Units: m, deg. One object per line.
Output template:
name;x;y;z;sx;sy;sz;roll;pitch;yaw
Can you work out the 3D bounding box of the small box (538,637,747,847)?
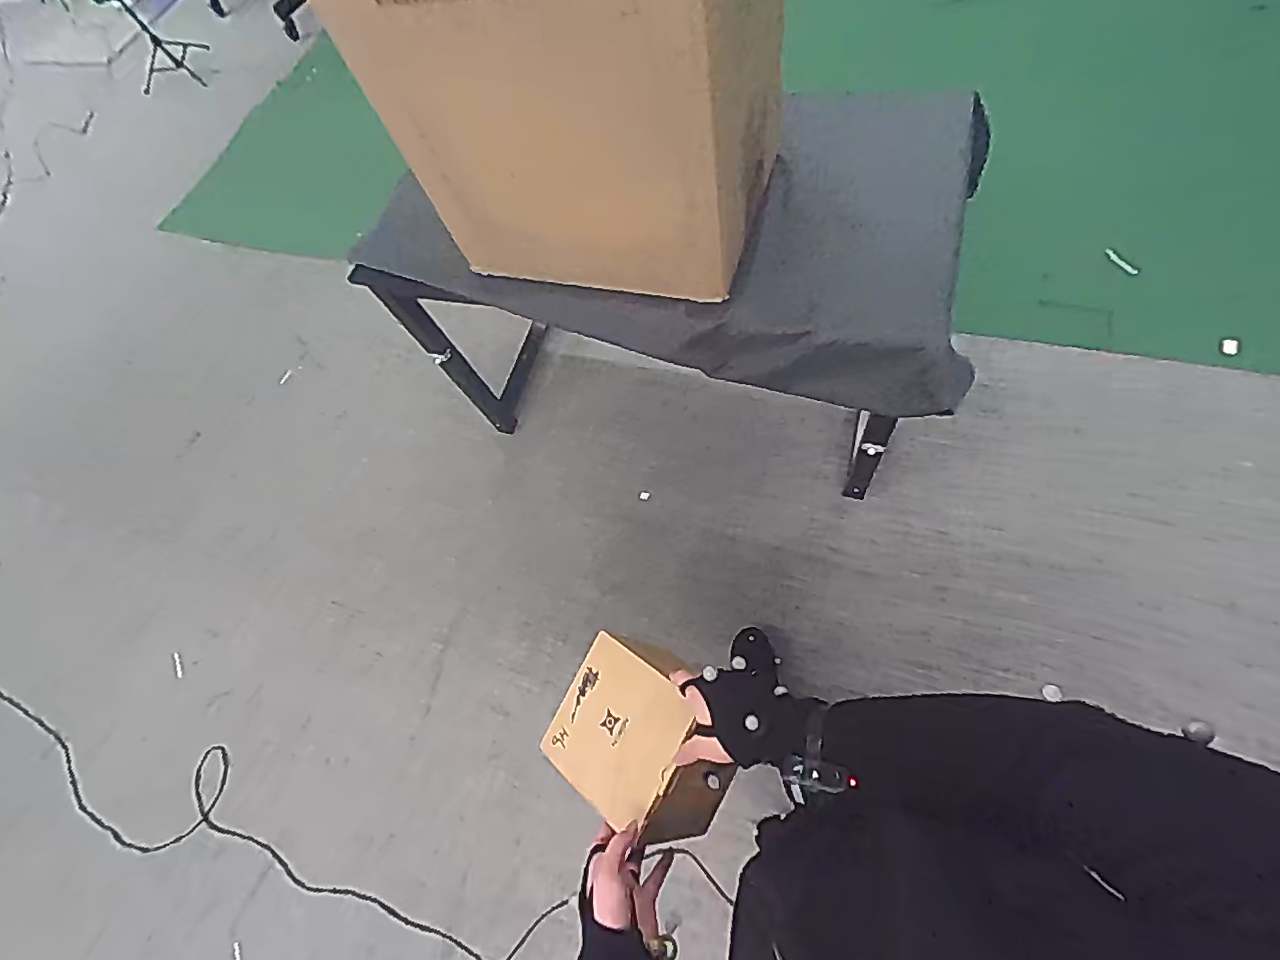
small box;0.010;0.328;0.702;0.179;0.176;0.168;23;81;42
